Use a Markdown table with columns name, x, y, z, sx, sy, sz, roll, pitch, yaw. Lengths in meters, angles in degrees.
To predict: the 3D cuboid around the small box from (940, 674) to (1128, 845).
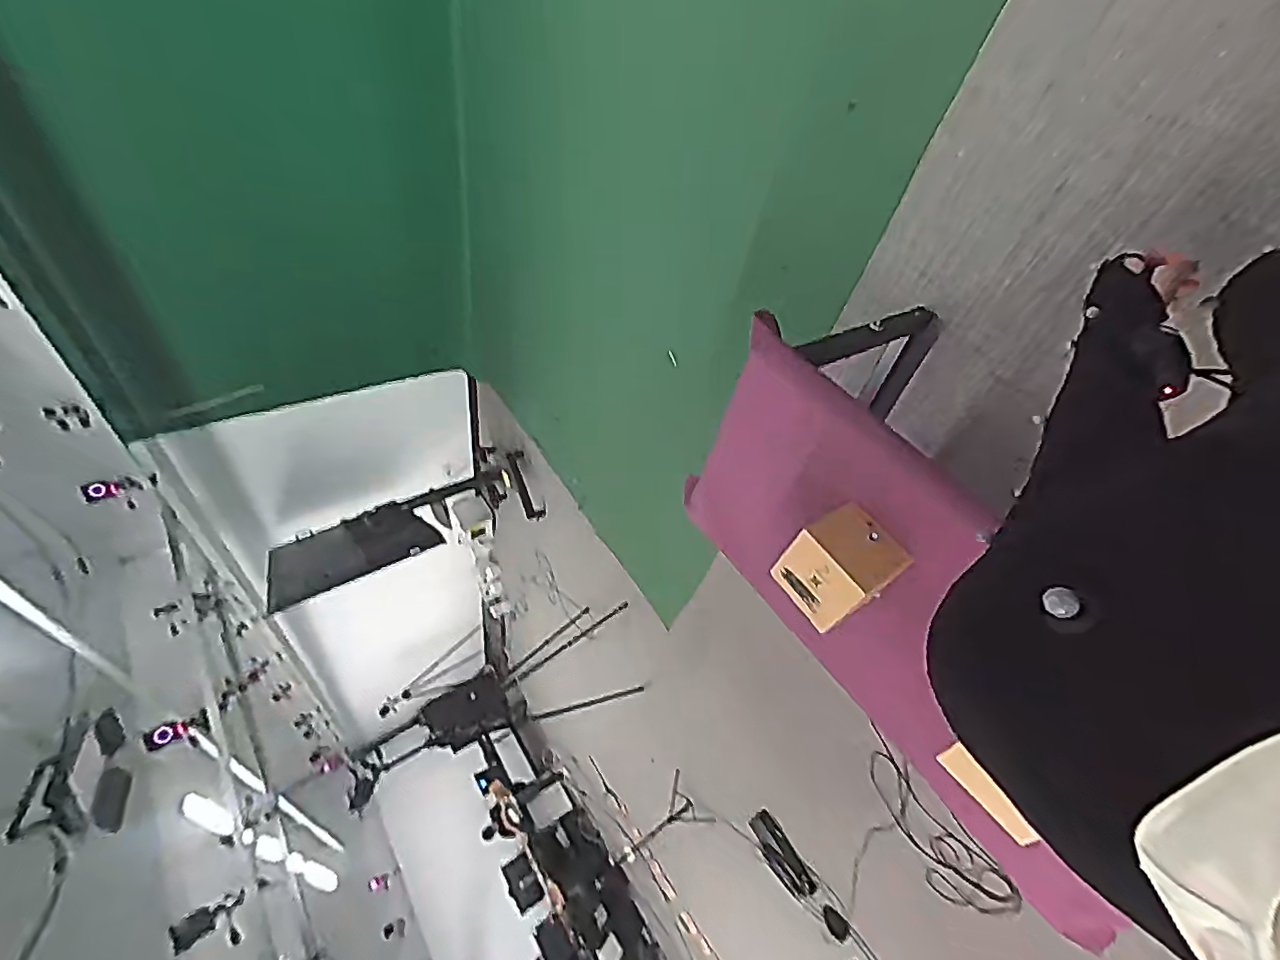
| name | x | y | z | sx | sy | sz | roll | pitch | yaw |
| --- | --- | --- | --- | --- | --- | --- | --- | --- | --- |
| small box | 0.663 | 0.468 | 0.915 | 0.168 | 0.176 | 0.179 | 47 | 144 | 32 |
